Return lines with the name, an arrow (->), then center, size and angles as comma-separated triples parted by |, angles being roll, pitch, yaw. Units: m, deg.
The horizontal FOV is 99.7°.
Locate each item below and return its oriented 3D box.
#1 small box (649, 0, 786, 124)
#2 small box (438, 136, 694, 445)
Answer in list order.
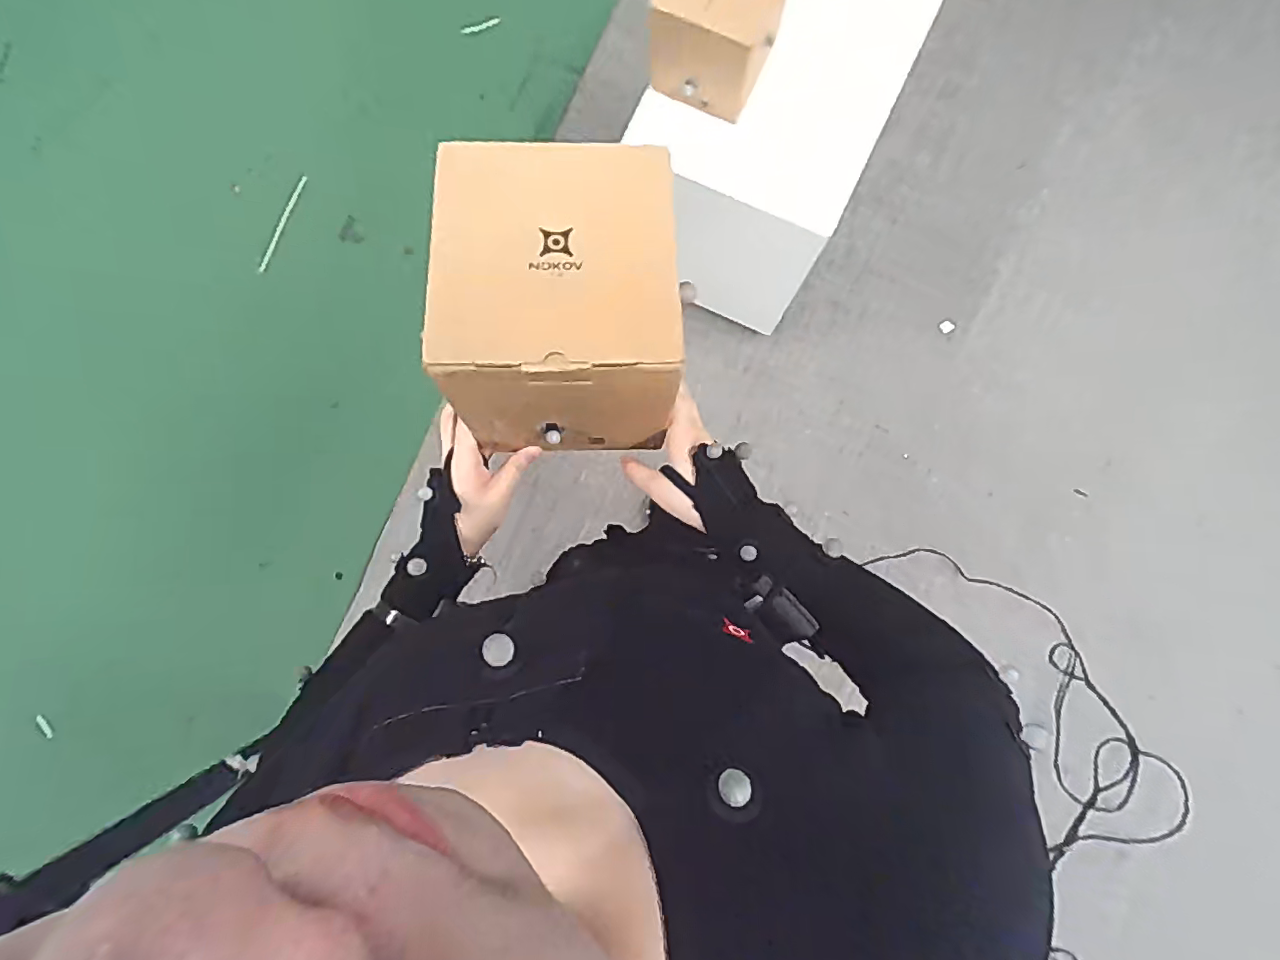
small box -> 0.123, -0.719, 0.849 | 0.168, 0.176, 0.179 | 25, 90, 3
small box -> -0.052, -0.139, 0.442 | 0.168, 0.176, 0.179 | -1, 76, -3
